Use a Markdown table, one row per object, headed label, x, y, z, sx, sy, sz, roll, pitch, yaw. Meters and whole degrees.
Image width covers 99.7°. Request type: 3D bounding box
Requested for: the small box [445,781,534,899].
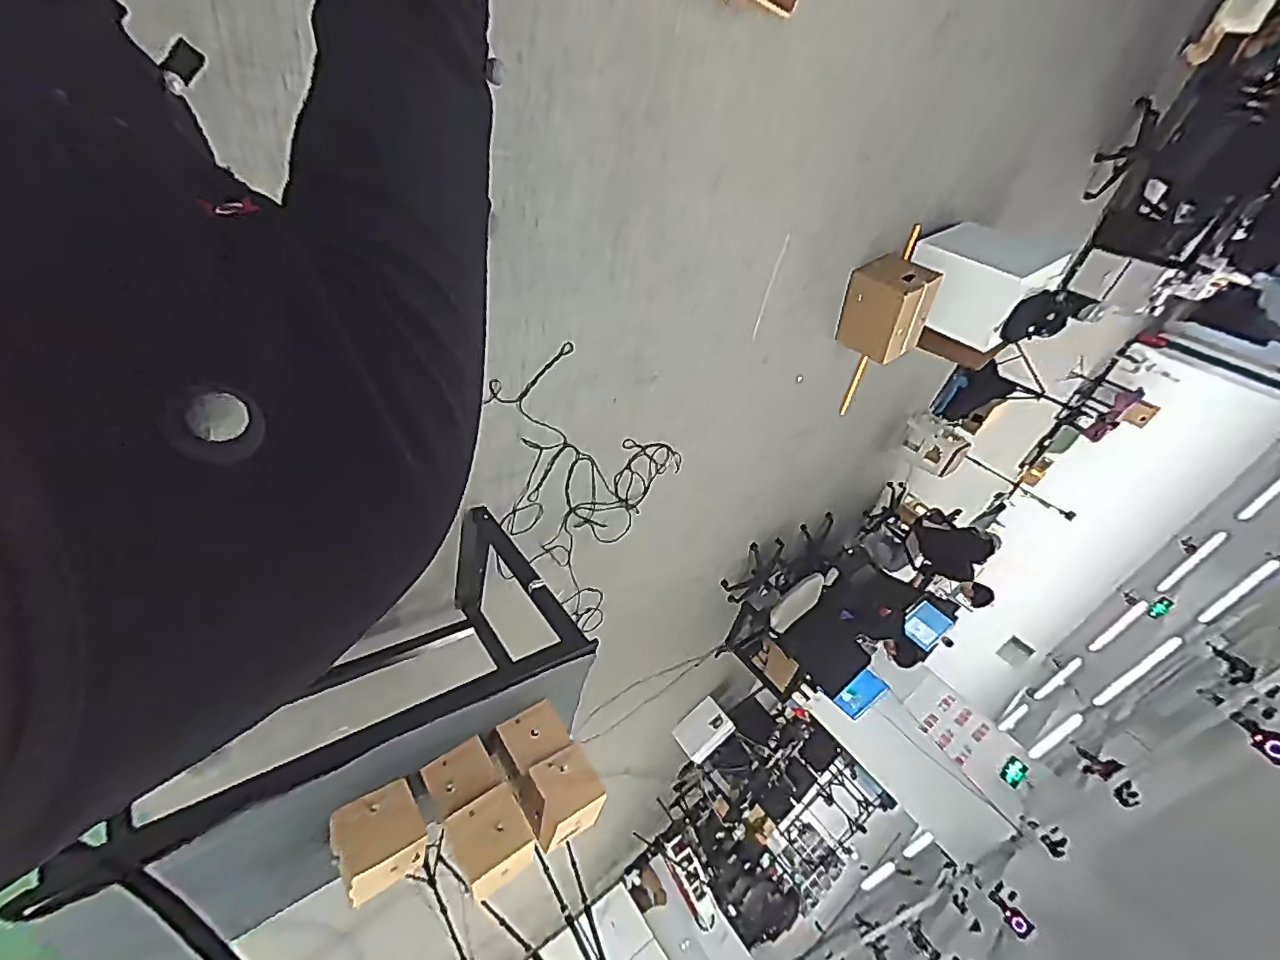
| label | x | y | z | sx | sy | sz | roll | pitch | yaw |
| --- | --- | --- | --- | --- | --- | --- | --- | --- | --- |
| small box | -0.386 | 0.912 | 1.385 | 0.168 | 0.176 | 0.179 | -20 | 139 | -32 |
